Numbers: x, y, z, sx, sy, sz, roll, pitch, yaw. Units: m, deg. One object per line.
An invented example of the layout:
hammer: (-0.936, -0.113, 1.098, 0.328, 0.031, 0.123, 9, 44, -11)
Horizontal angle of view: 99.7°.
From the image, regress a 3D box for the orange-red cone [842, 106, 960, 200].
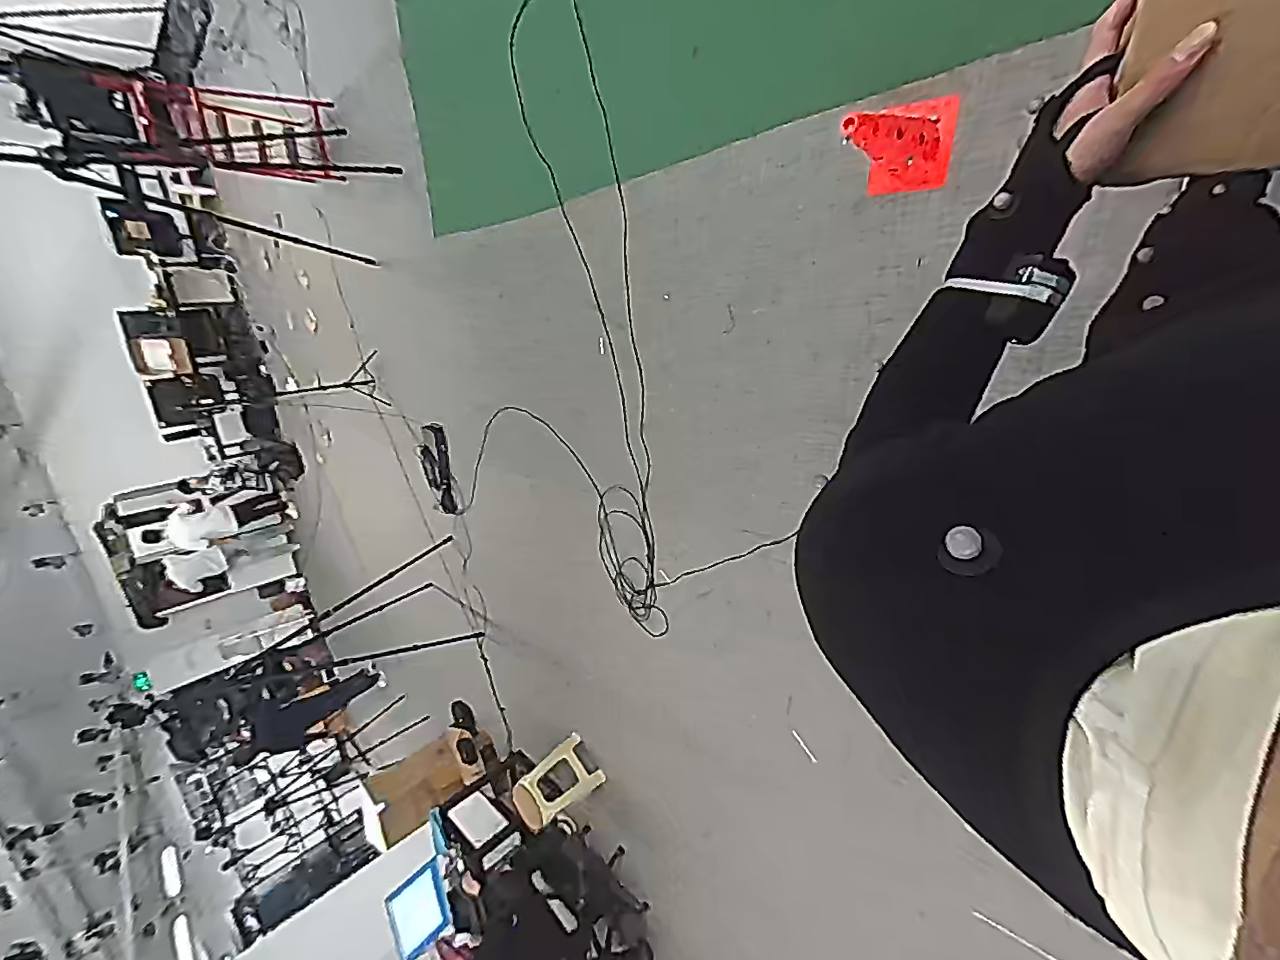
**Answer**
orange-red cone: (0.576, -0.794, 1.278, 0.199, 0.360, 0.198, 21, 119, 42)
